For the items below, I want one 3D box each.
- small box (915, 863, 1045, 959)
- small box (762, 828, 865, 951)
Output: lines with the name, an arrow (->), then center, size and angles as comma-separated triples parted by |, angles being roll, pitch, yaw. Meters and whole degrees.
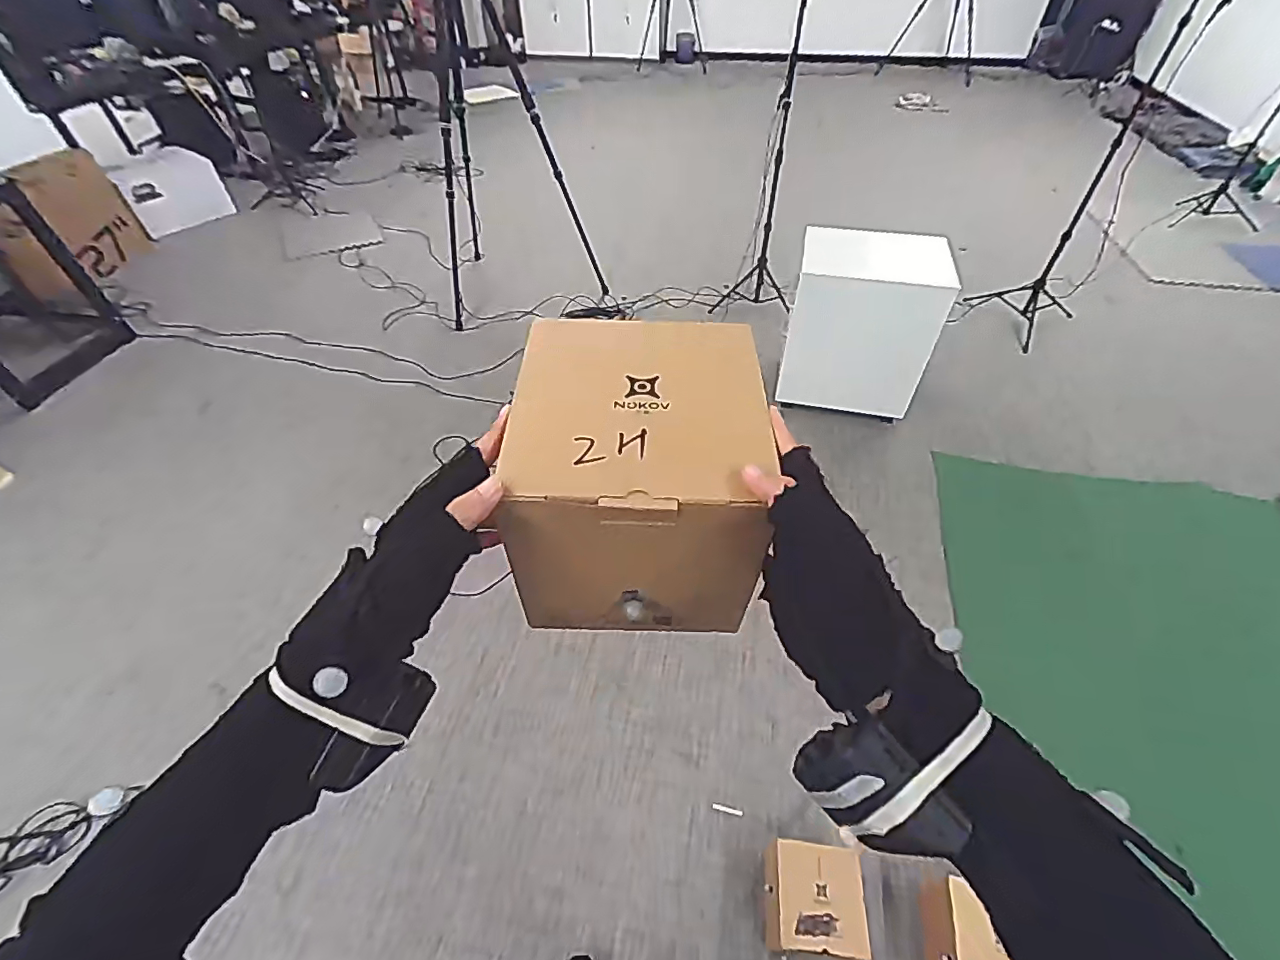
small box -> 0.666, 0.899, 1.076 | 0.168, 0.176, 0.179 | 9, 49, 9
small box -> 0.349, 0.849, 1.120 | 0.168, 0.176, 0.179 | 6, 48, 5
